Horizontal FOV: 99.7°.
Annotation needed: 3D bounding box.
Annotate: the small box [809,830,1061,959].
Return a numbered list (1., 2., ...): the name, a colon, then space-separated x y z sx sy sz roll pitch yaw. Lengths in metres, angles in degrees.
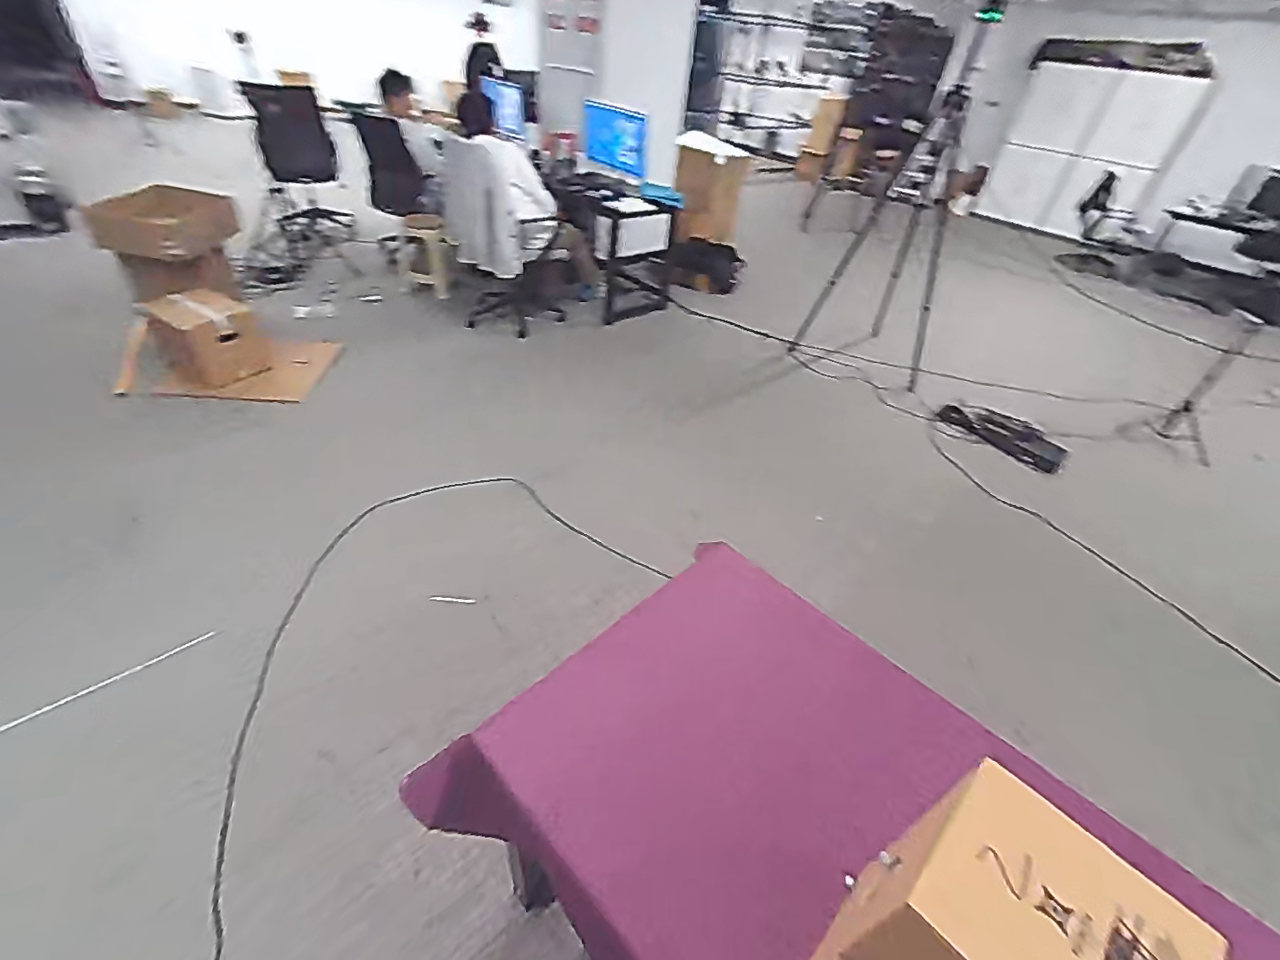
1. small box: 0.288 0.517 0.550 0.168 0.176 0.179 -29 51 -36
